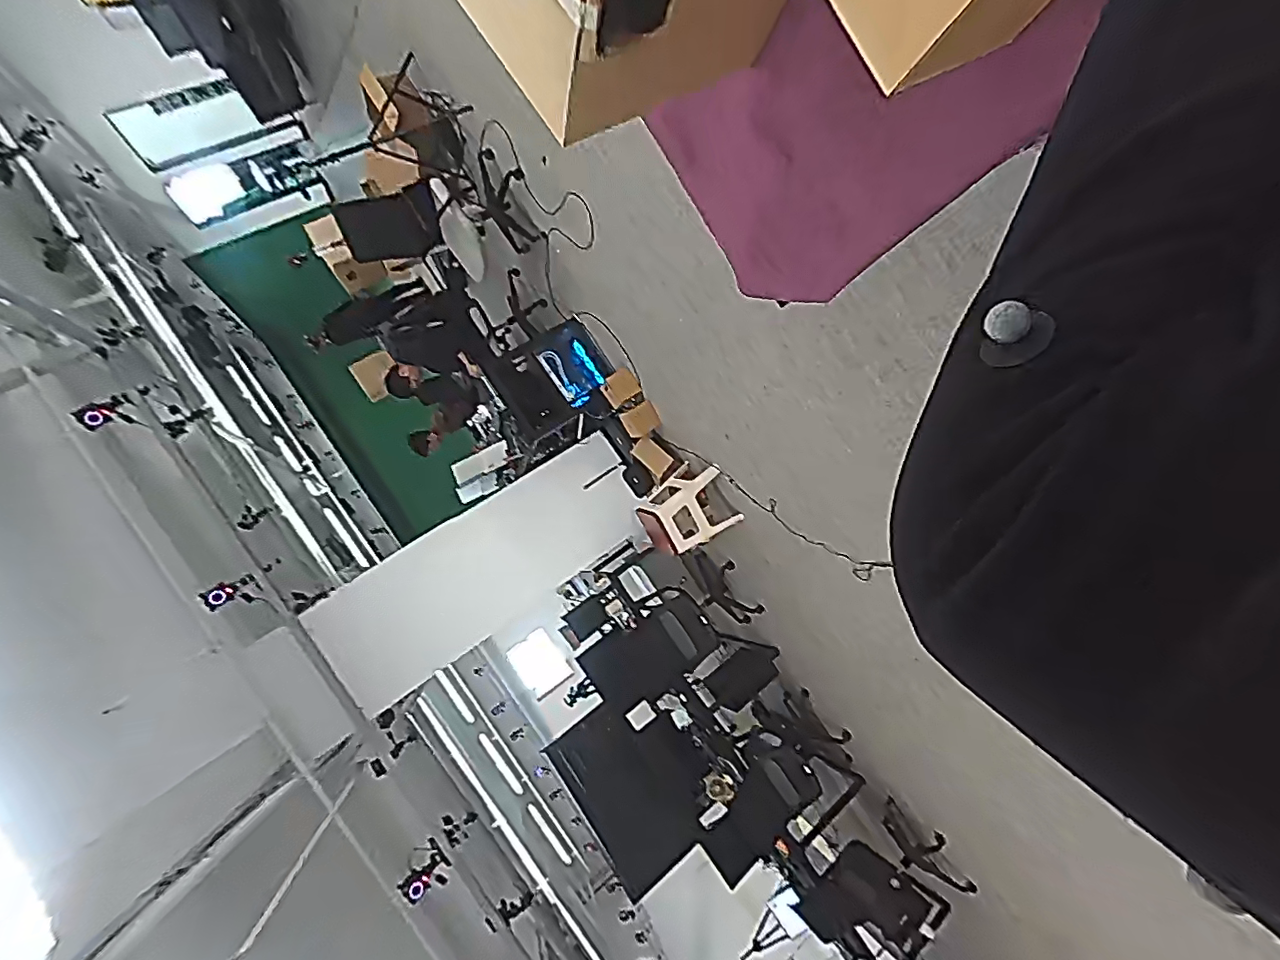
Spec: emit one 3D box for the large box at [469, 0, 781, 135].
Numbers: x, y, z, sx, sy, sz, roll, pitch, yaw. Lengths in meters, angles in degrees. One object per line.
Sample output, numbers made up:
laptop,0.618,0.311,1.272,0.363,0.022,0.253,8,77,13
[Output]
large box,-0.042,-0.664,0.528,0.408,0.320,0.320,53,163,1
